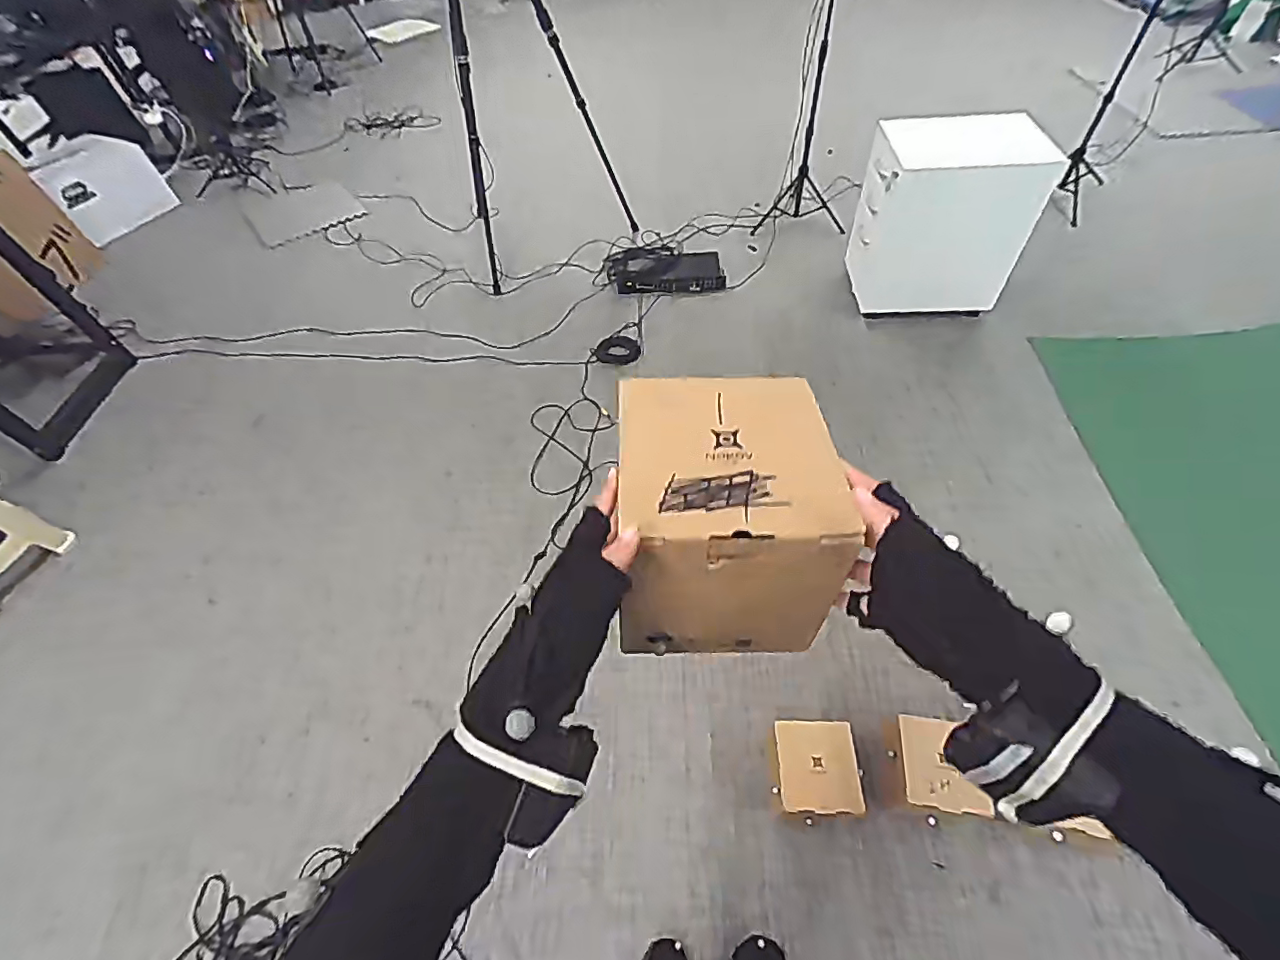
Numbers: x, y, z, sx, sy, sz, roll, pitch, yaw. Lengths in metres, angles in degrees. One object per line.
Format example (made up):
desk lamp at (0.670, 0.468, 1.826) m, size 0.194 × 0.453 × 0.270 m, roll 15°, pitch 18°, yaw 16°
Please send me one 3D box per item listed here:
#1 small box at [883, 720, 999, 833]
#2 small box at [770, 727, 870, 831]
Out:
small box at (0.642, 0.649, 1.179) m, size 0.168 × 0.176 × 0.179 m, roll 5°, pitch 54°, yaw 10°
small box at (0.386, 0.661, 1.196) m, size 0.168 × 0.176 × 0.179 m, roll -1°, pitch 53°, yaw 5°
